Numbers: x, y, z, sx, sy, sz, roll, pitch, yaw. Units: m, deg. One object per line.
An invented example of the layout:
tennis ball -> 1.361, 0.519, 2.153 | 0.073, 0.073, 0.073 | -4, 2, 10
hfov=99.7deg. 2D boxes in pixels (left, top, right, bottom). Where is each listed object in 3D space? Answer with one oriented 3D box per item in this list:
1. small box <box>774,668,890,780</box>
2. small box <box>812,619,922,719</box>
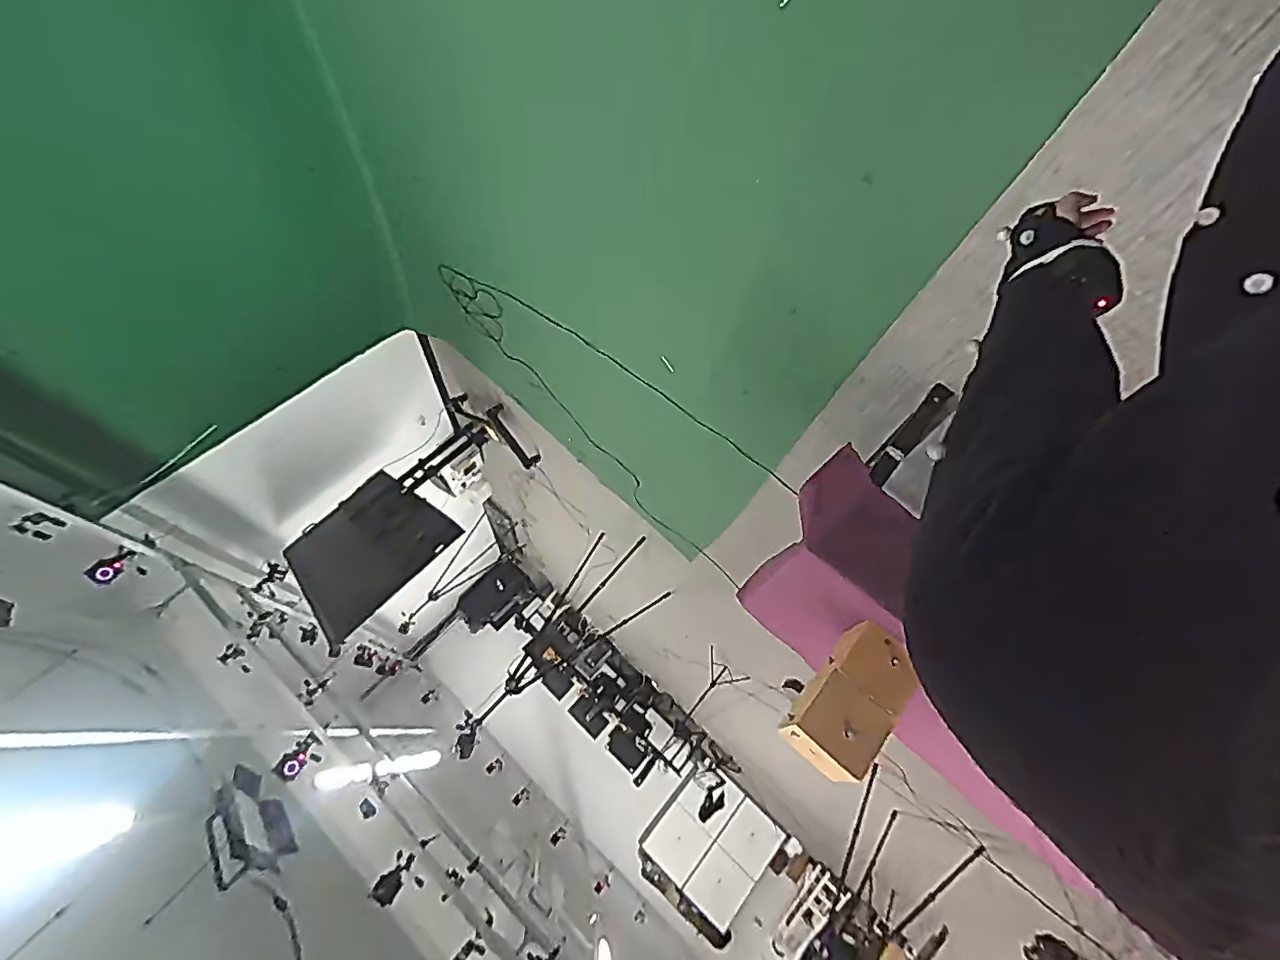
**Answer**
small box -> 0.458, 0.581, 1.290 | 0.179, 0.176, 0.168 | 39, 155, 16
small box -> 0.568, 0.478, 1.357 | 0.168, 0.176, 0.179 | 40, 155, 16
